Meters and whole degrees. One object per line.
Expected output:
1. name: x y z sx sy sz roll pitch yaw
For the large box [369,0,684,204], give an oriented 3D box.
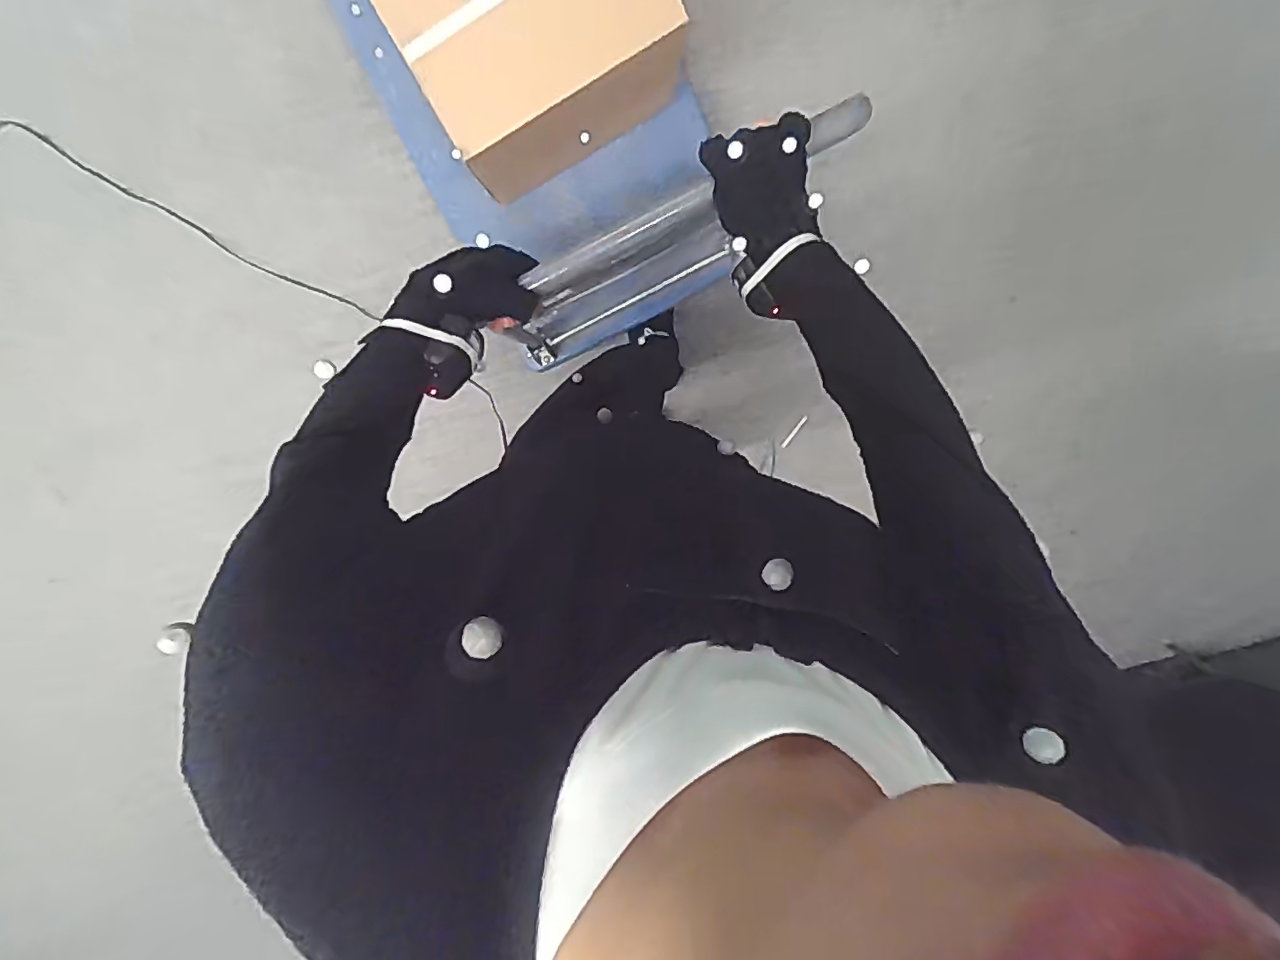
1. large box: -0.183 -0.761 0.944 0.408 0.320 0.320 -30 103 5
